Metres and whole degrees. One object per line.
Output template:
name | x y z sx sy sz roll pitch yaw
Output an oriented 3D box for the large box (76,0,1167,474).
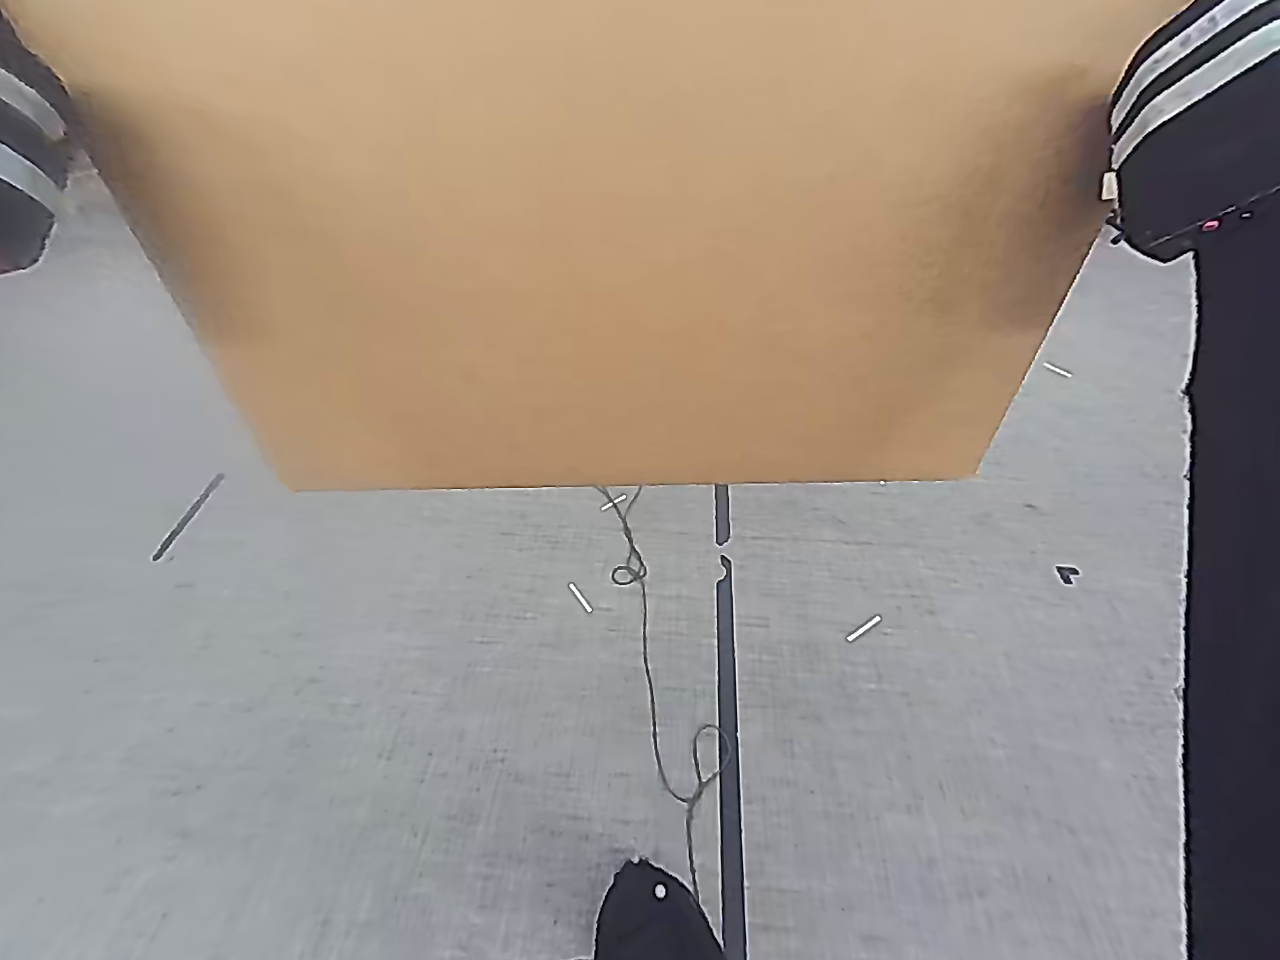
large box | -0.008 -0.216 0.348 0.408 0.320 0.320 -1 41 -1
